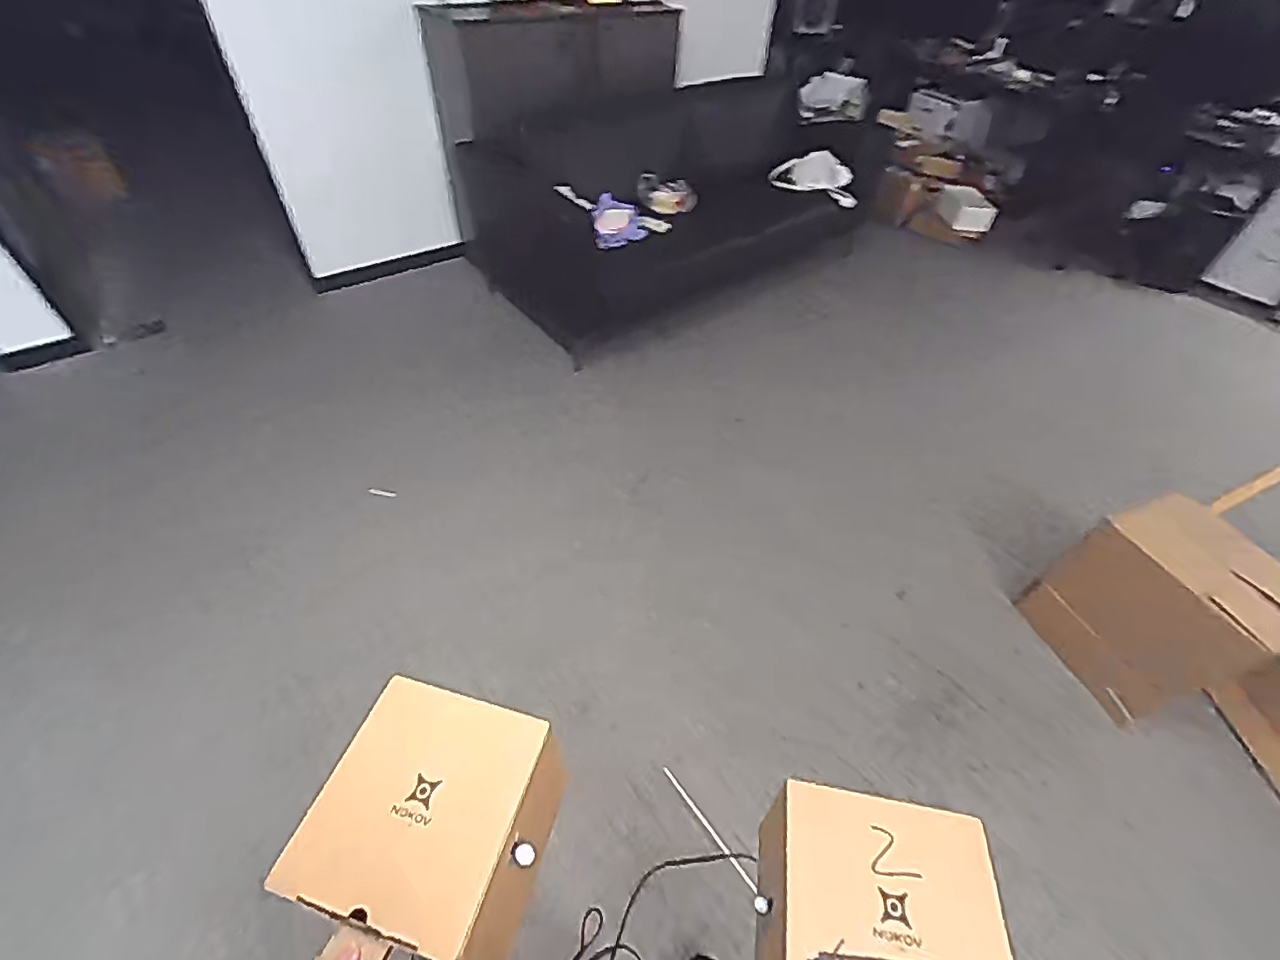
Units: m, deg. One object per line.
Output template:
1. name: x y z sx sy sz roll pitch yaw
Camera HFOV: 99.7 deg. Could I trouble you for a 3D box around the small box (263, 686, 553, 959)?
1. small box: -0.190 0.331 0.511 0.168 0.176 0.179 11 47 11
